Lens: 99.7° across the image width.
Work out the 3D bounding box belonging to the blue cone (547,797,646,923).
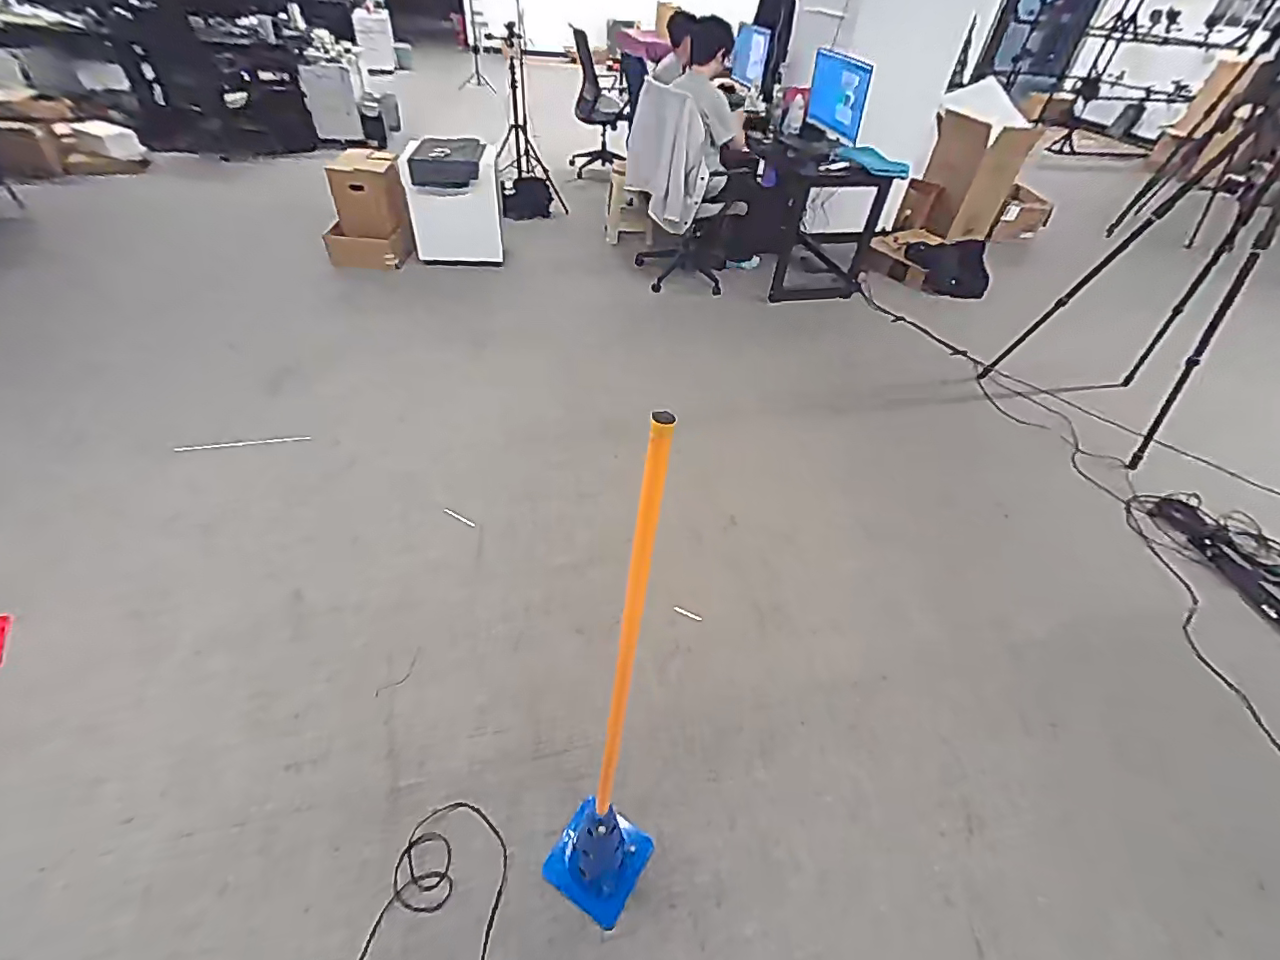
[{"bbox_3d":[-0.084,0.745,1.133,0.192,0.380,0.193,25,45,19],"label":"blue cone"}]
